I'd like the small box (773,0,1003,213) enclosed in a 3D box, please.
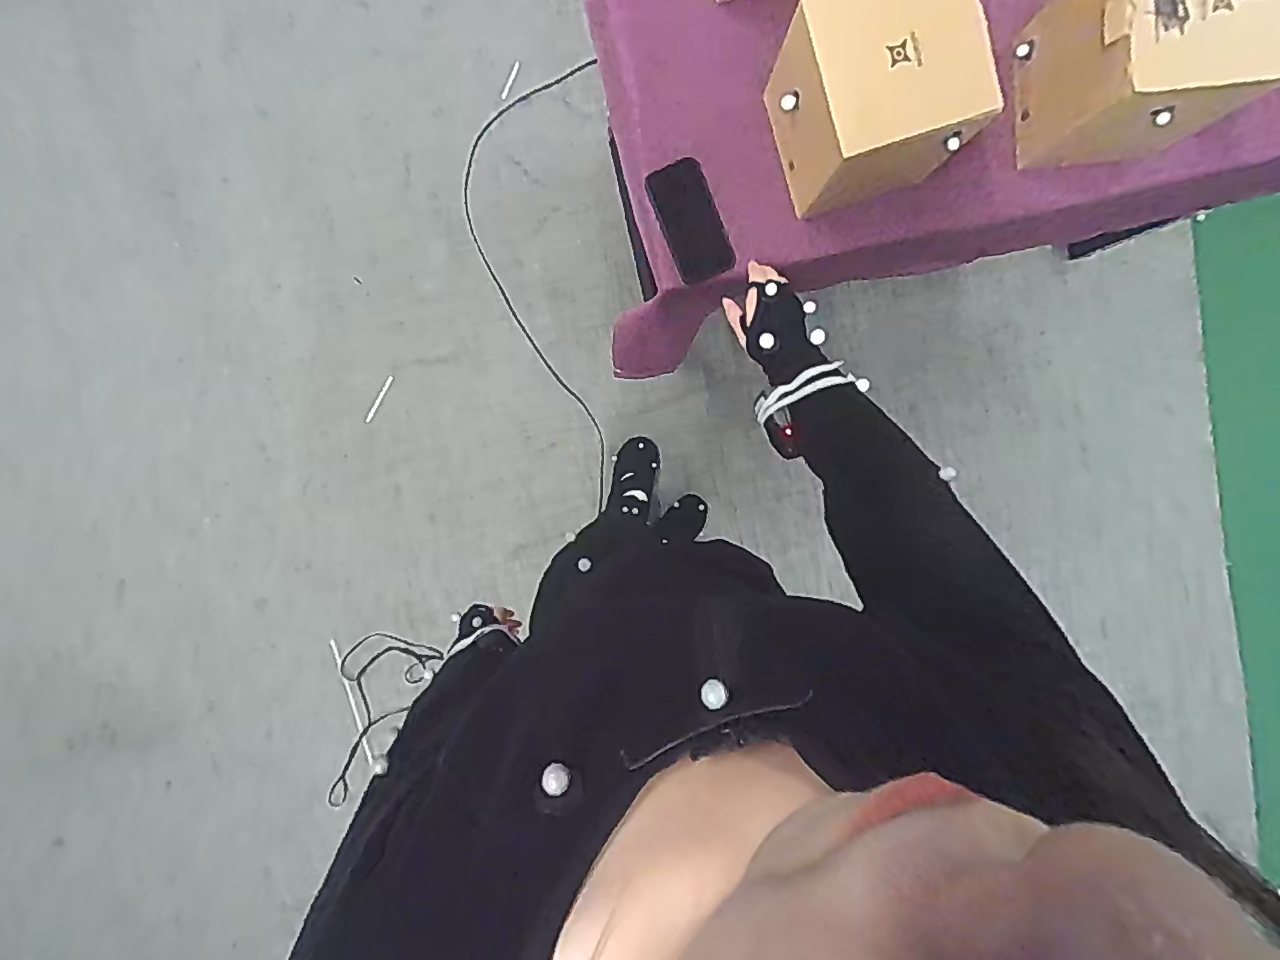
[{"bbox_3d":[0.268,-0.443,0.631,0.179,0.176,0.168,-18,95,0],"label":"small box"}]

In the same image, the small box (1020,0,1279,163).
[{"bbox_3d":[0.578,-0.494,0.628,0.179,0.176,0.168,-6,96,-1],"label":"small box"}]
